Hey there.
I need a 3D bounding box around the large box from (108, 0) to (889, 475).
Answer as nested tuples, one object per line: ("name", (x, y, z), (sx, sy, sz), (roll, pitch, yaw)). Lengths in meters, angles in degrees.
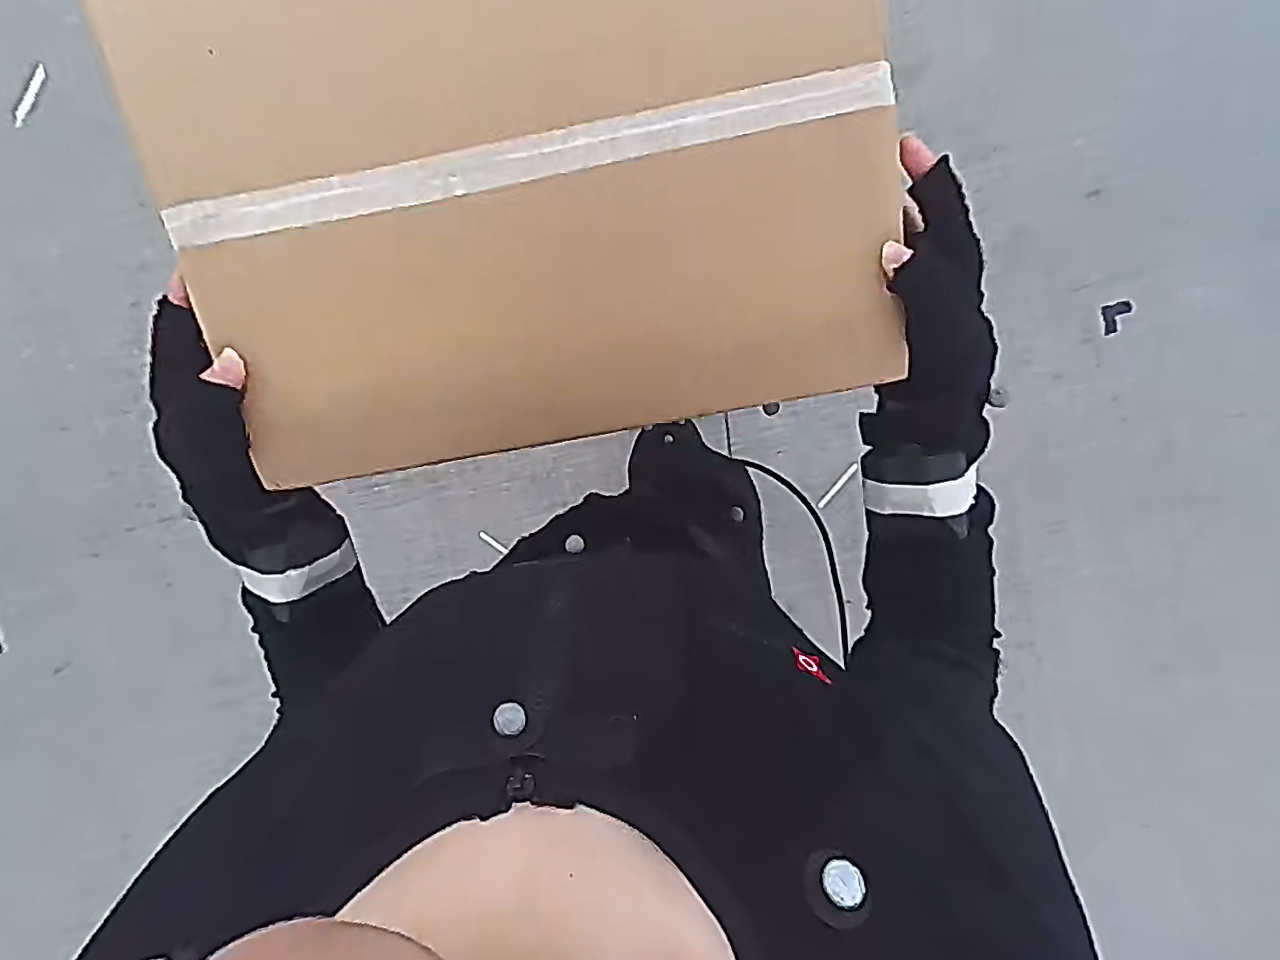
("large box", (-0.066, -0.223, 0.450), (0.408, 0.320, 0.320), (-10, 104, 3))
